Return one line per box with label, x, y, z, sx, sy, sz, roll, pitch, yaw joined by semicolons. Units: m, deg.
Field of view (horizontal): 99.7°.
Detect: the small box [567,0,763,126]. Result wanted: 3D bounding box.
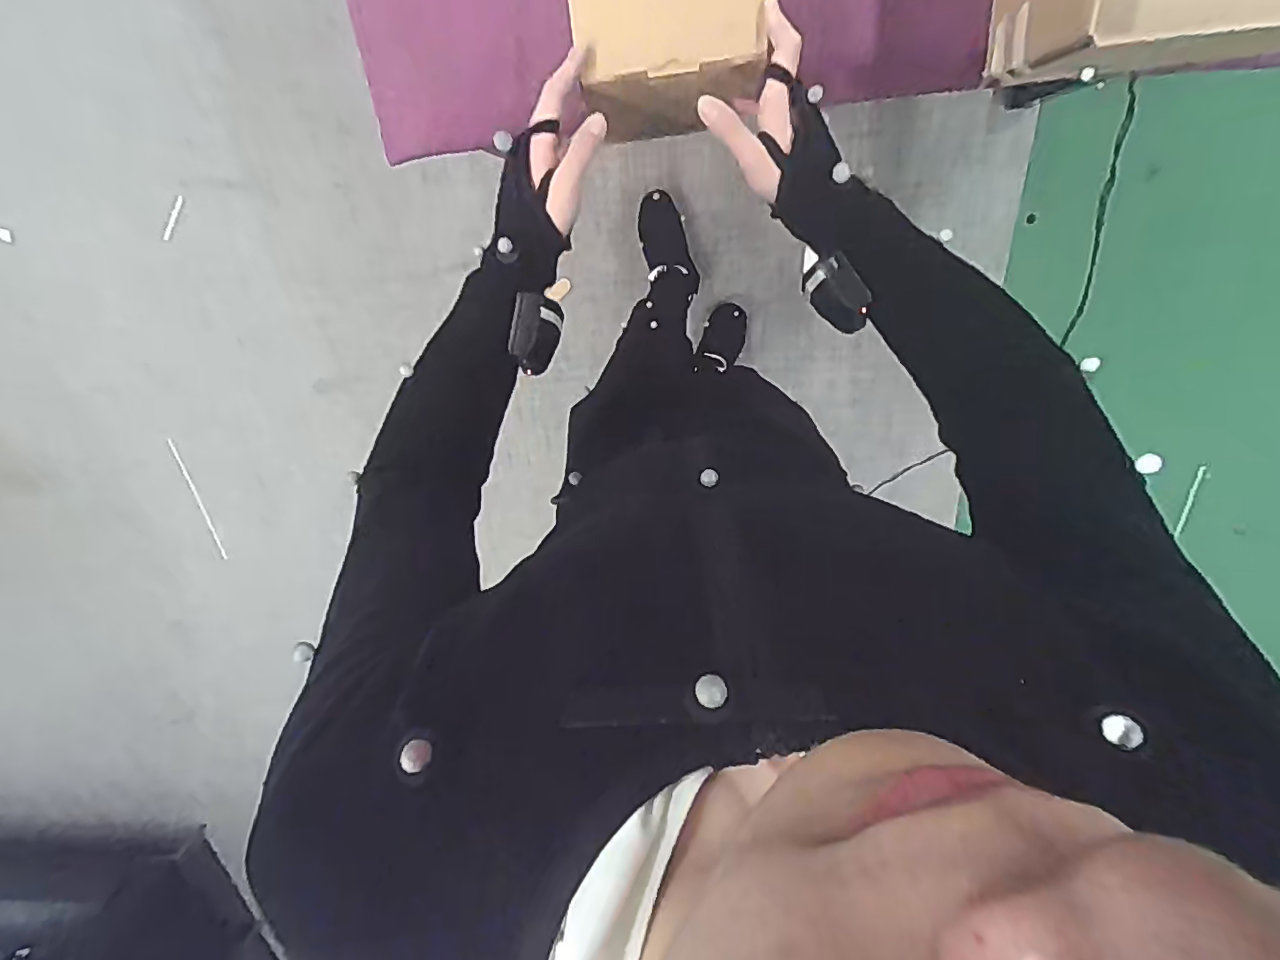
small box;0.021;-0.461;0.513;0.168;0.176;0.179;-5;105;4
